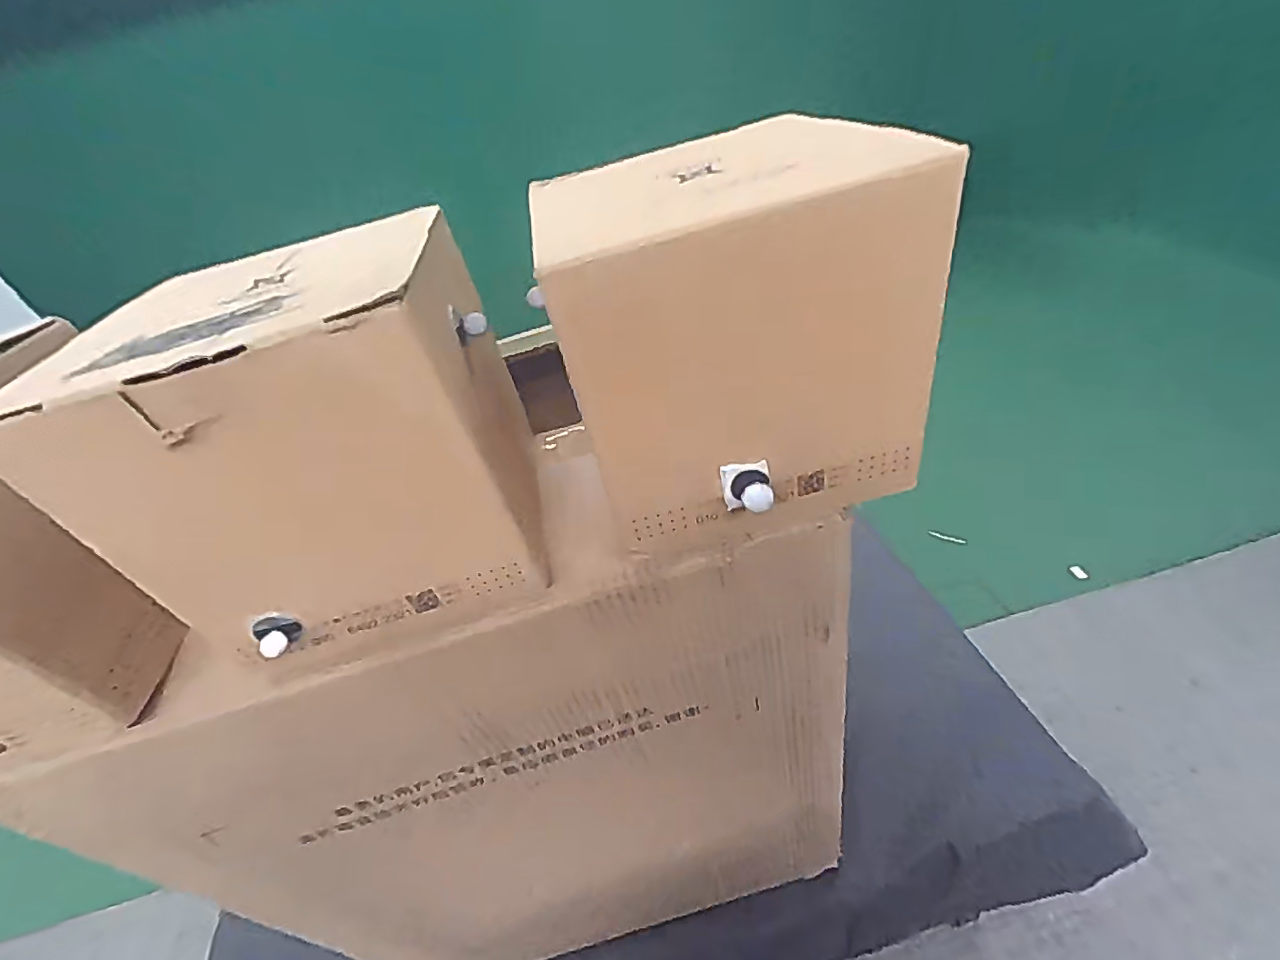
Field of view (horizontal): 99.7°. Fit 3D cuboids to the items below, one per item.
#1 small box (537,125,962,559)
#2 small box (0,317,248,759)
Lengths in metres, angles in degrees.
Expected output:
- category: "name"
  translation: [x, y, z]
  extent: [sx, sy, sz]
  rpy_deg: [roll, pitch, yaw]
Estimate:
- category: "small box"
  translation: [0.045, -0.085, 0.318]
  extent: [0.168, 0.176, 0.179]
  rpy_deg: [-16, 40, 0]
- category: "small box"
  translation: [-0.374, 0.037, 0.305]
  extent: [0.168, 0.176, 0.179]
  rpy_deg: [-18, 38, 2]
